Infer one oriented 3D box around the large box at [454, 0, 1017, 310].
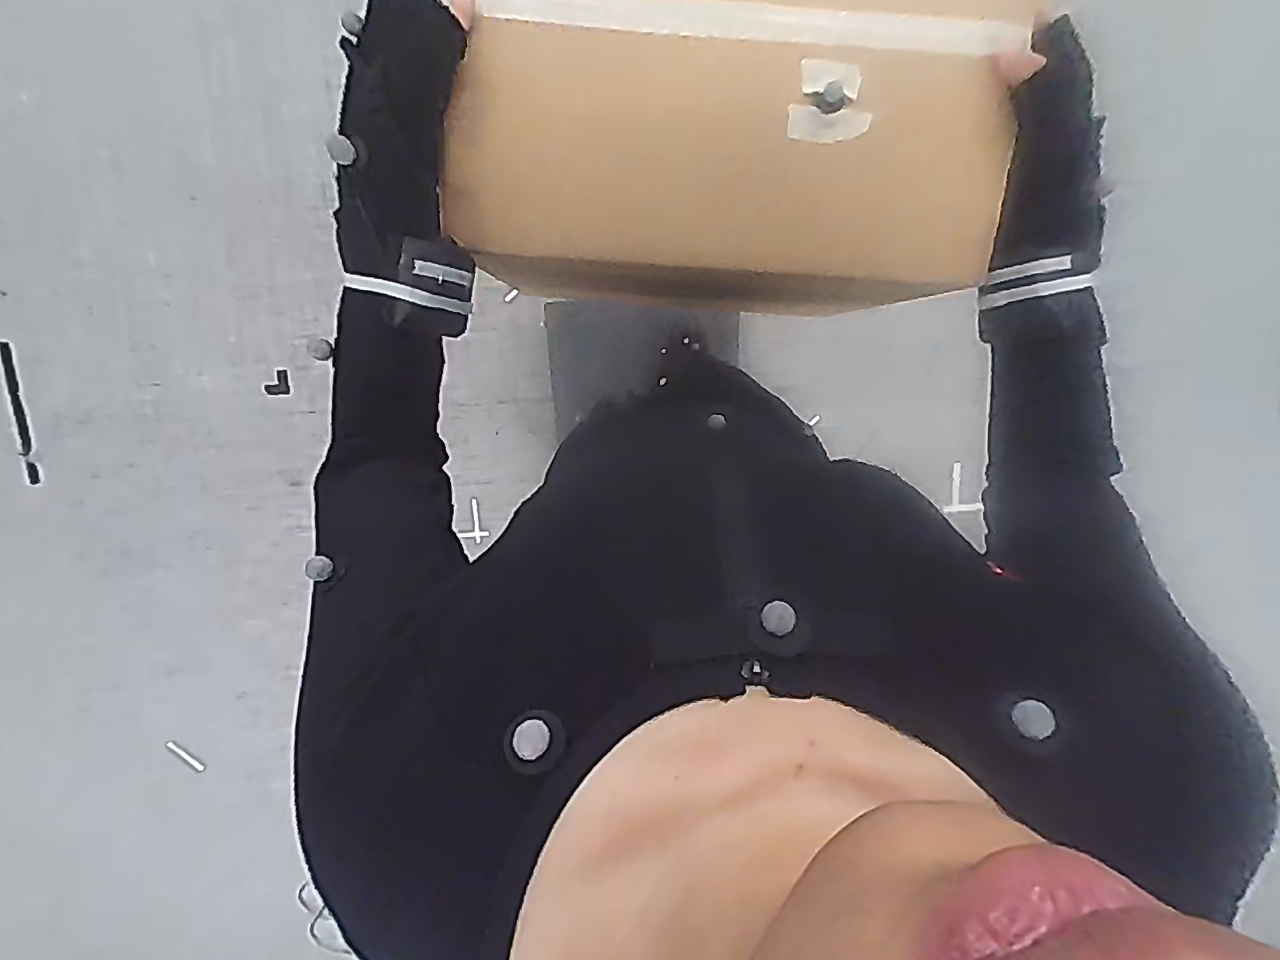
[{"bbox_3d":[0.061,-0.347,0.529,0.408,0.320,0.320,3,103,-3],"label":"large box"}]
